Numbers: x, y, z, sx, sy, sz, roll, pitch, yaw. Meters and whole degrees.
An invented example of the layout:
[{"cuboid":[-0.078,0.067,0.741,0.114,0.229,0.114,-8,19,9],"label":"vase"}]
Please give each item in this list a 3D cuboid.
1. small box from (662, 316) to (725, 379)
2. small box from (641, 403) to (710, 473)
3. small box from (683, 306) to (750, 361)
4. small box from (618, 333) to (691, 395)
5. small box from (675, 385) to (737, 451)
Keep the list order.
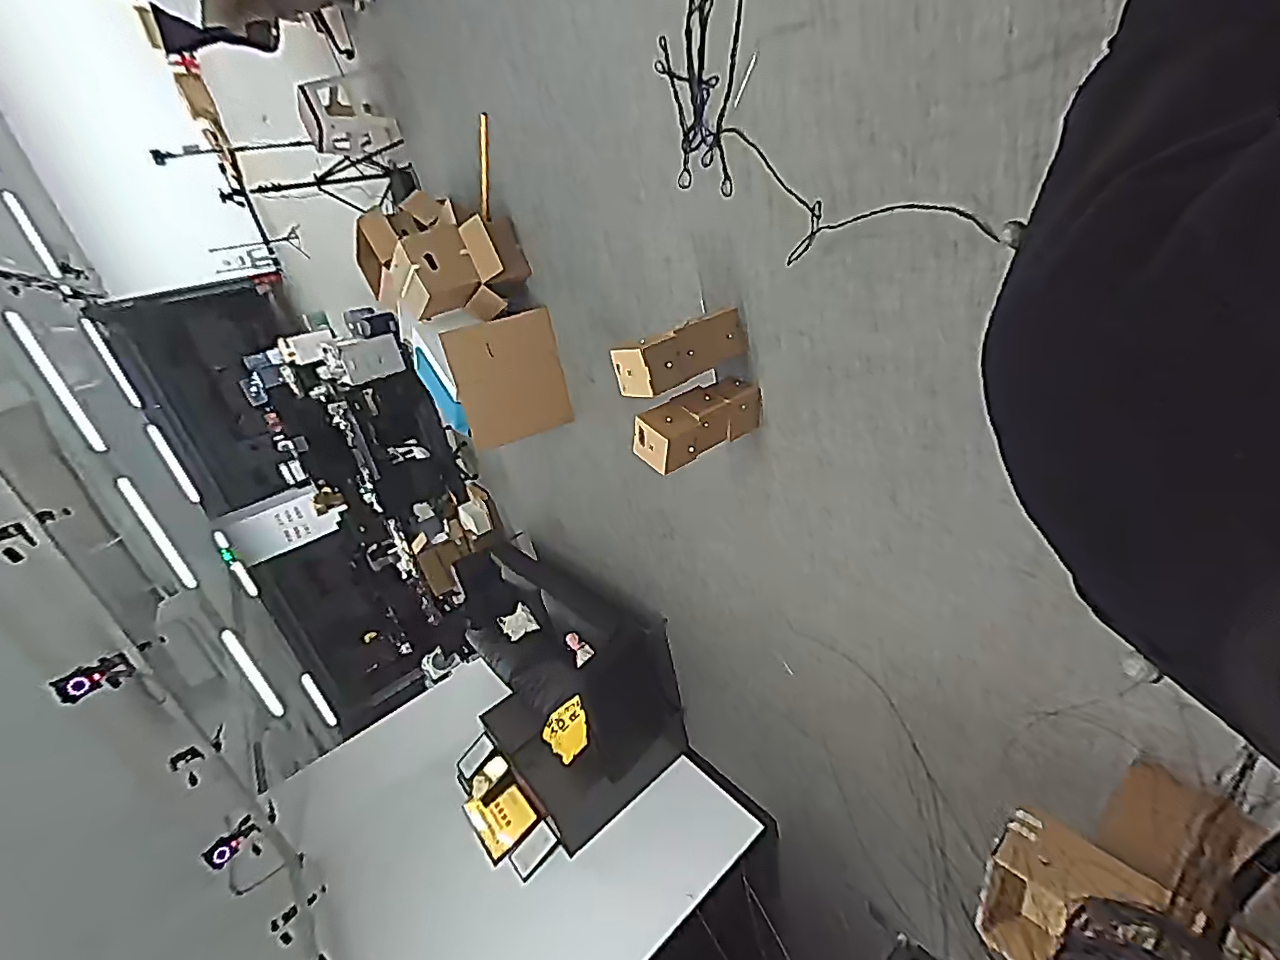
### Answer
[{"cuboid":[0.178,-0.464,1.931,0.168,0.176,0.179,3,118,55],"label":"small box"},{"cuboid":[0.124,-0.159,1.944,0.179,0.176,0.168,40,143,33],"label":"small box"},{"cuboid":[0.293,-0.540,2.018,0.179,0.176,0.168,11,123,54],"label":"small box"},{"cuboid":[0.057,-0.397,1.845,0.179,0.176,0.168,13,126,50],"label":"small box"},{"cuboid":[0.245,-0.231,2.030,0.168,0.176,0.179,37,141,38],"label":"small box"}]
